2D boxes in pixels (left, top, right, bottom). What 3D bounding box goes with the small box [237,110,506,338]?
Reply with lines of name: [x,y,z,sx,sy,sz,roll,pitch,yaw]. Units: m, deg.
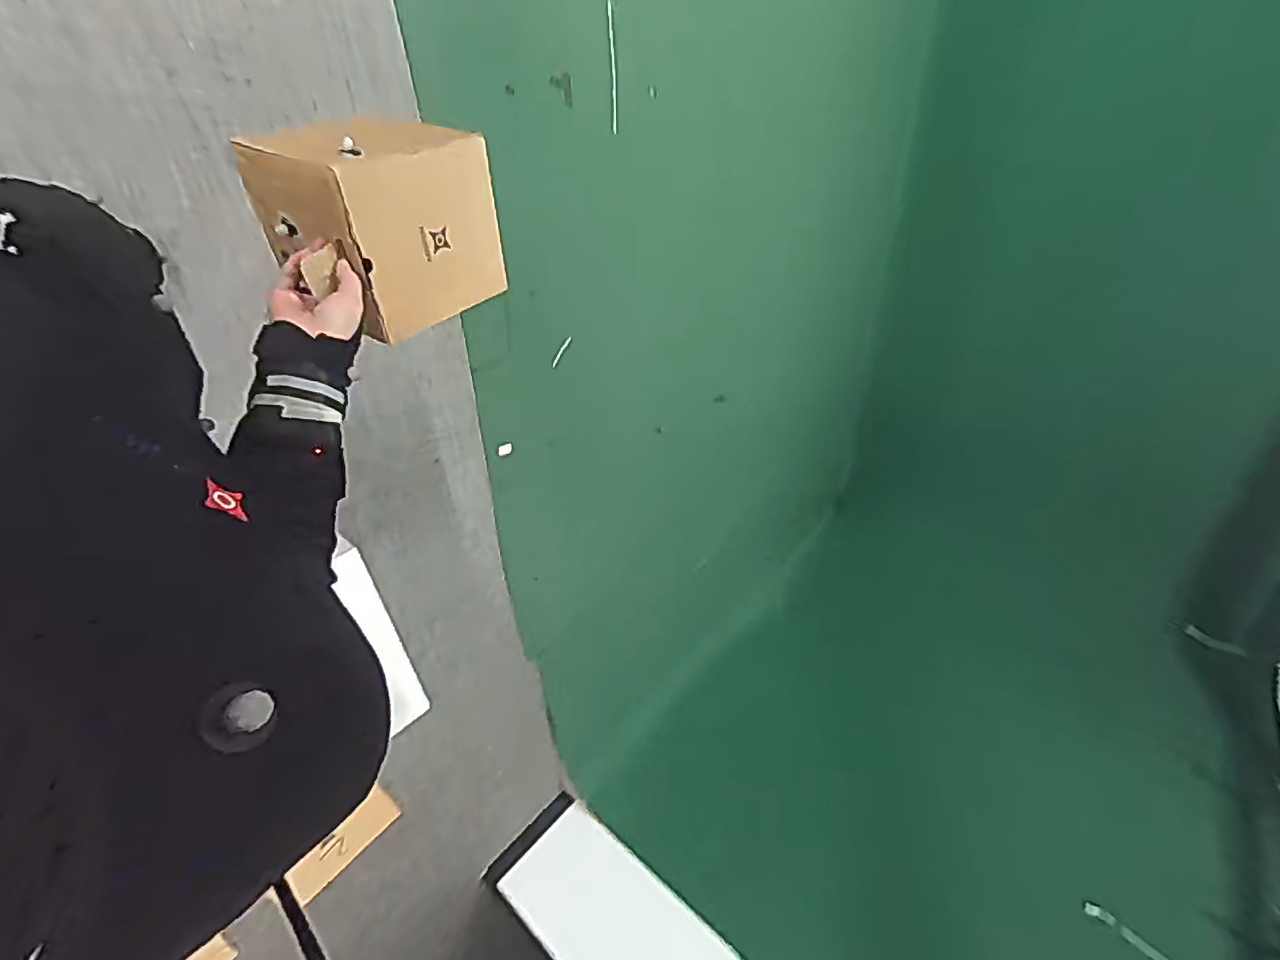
small box: [-0.275,-0.285,0.586,0.179,0.176,0.168,-45,151,-38]
